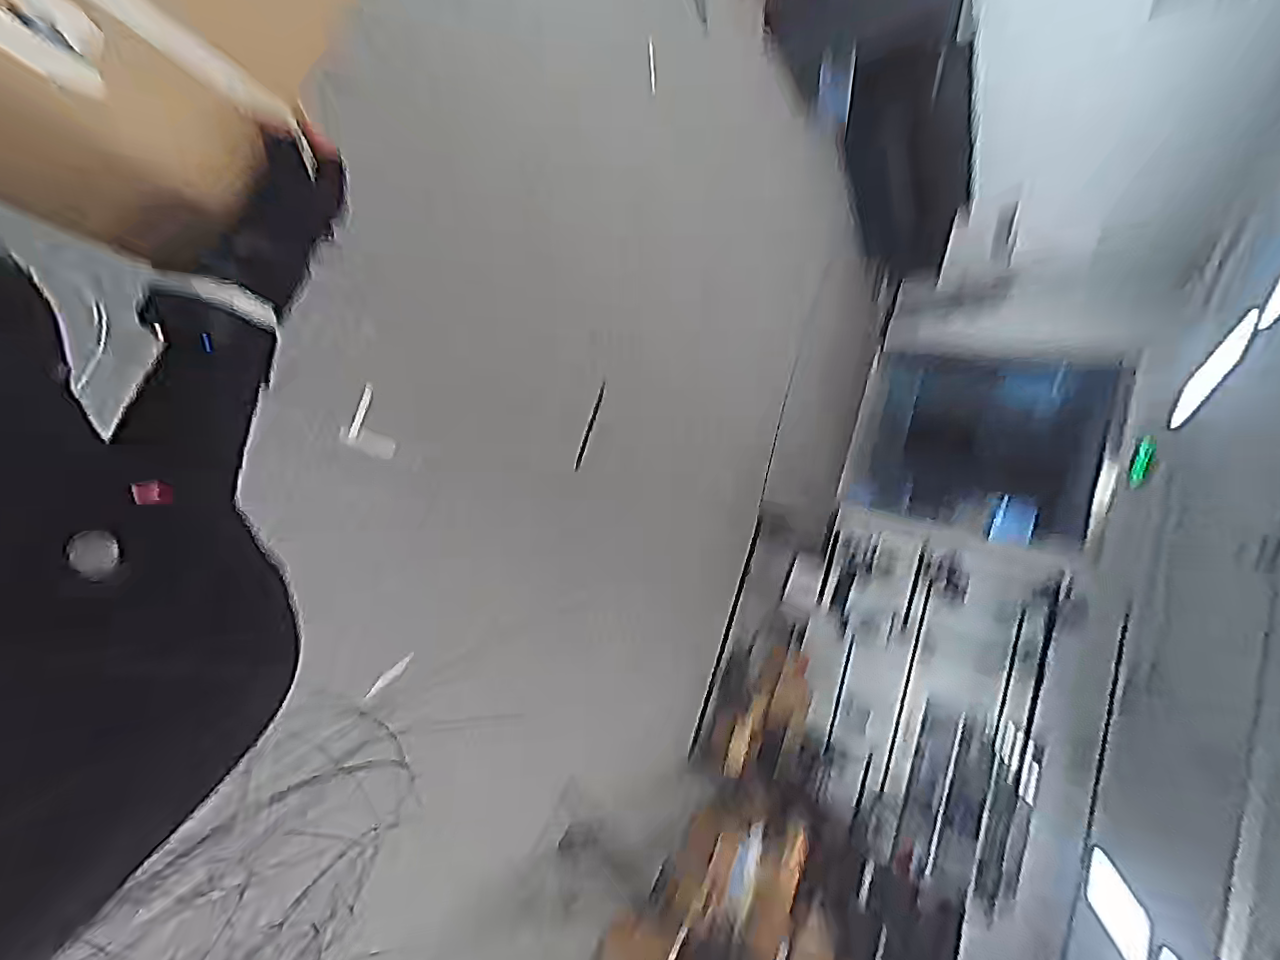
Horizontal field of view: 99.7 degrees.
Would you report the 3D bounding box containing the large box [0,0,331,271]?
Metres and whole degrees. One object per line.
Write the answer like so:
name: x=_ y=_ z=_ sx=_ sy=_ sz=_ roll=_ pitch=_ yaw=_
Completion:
large box: x=-0.517 y=-0.412 z=0.369 sx=0.320 sy=0.320 sz=0.408 roll=-61 pitch=150 yaw=4
